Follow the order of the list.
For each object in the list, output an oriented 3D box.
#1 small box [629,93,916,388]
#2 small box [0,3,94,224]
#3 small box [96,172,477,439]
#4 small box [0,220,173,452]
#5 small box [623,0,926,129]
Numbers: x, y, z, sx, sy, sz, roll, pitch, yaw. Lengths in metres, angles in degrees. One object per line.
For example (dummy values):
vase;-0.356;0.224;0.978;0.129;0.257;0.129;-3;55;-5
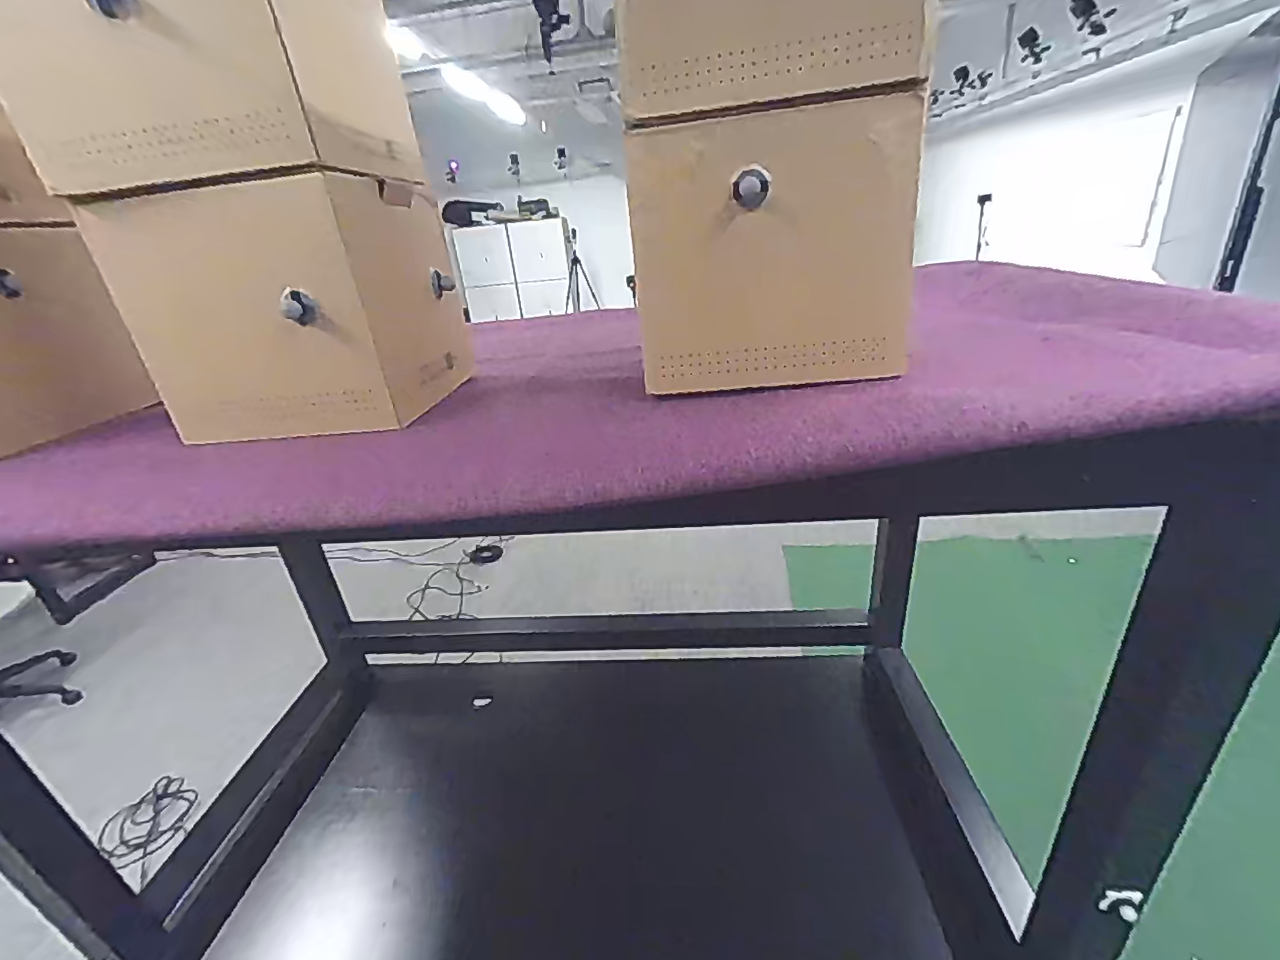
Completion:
small box;0.094;-0.172;0.428;0.179;0.176;0.168;-2;22;7
small box;-0.593;-0.271;0.401;0.179;0.176;0.168;-3;25;2
small box;-0.253;-0.141;0.444;0.179;0.176;0.168;-4;24;5
small box;-0.573;-0.125;0.469;0.168;0.176;0.179;-2;24;4
small box;0.082;-0.324;0.367;0.179;0.176;0.168;-3;22;8
